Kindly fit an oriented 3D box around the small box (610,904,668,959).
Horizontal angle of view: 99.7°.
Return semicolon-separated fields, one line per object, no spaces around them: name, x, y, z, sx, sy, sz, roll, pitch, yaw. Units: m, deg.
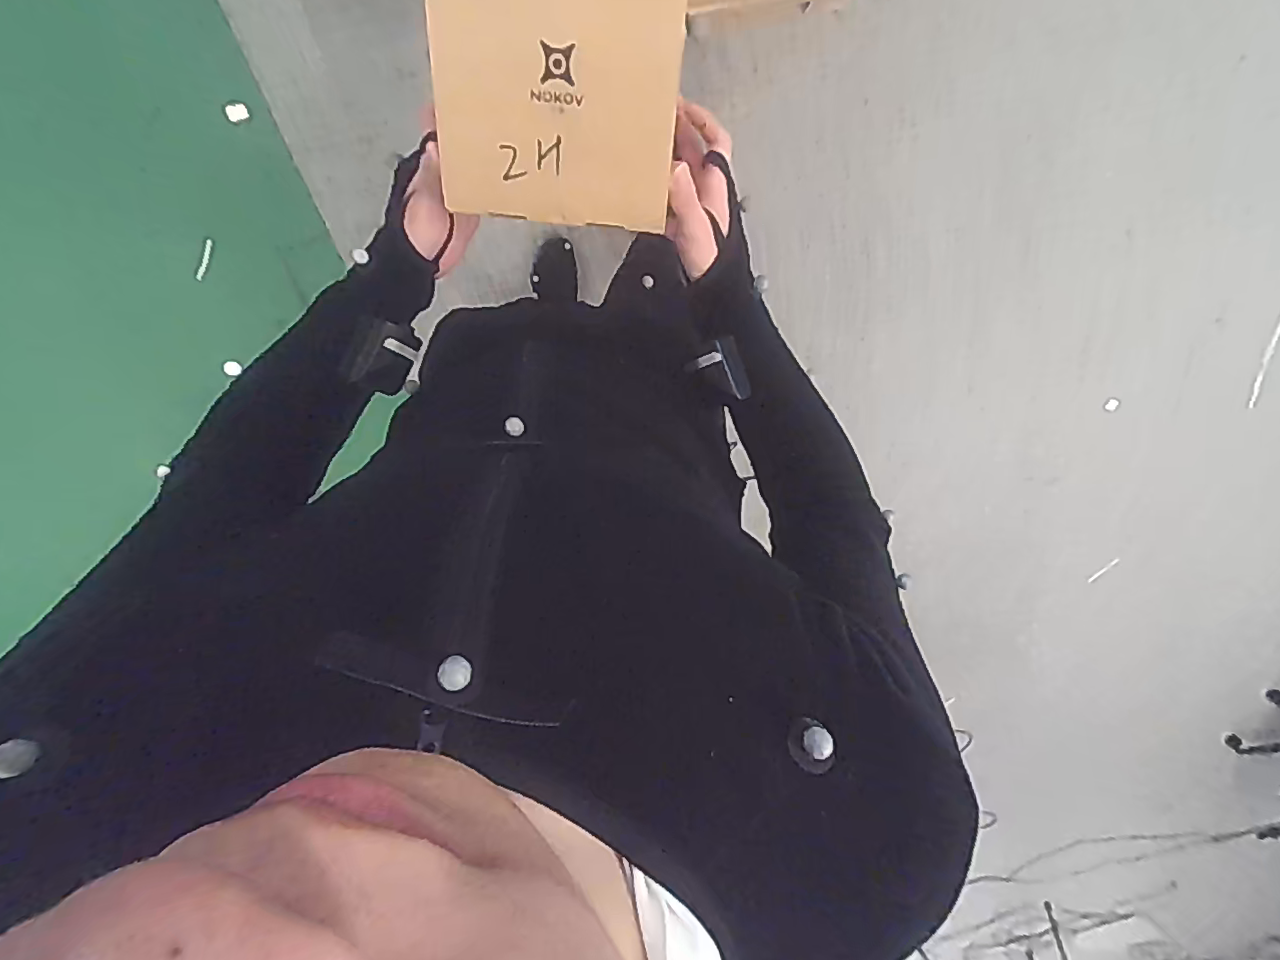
small box;-0.001;1.568;1.824;0.168;0.176;0.179;-13;122;5

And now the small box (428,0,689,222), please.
small box;-0.053;-0.312;0.423;0.168;0.176;0.179;5;121;-1
